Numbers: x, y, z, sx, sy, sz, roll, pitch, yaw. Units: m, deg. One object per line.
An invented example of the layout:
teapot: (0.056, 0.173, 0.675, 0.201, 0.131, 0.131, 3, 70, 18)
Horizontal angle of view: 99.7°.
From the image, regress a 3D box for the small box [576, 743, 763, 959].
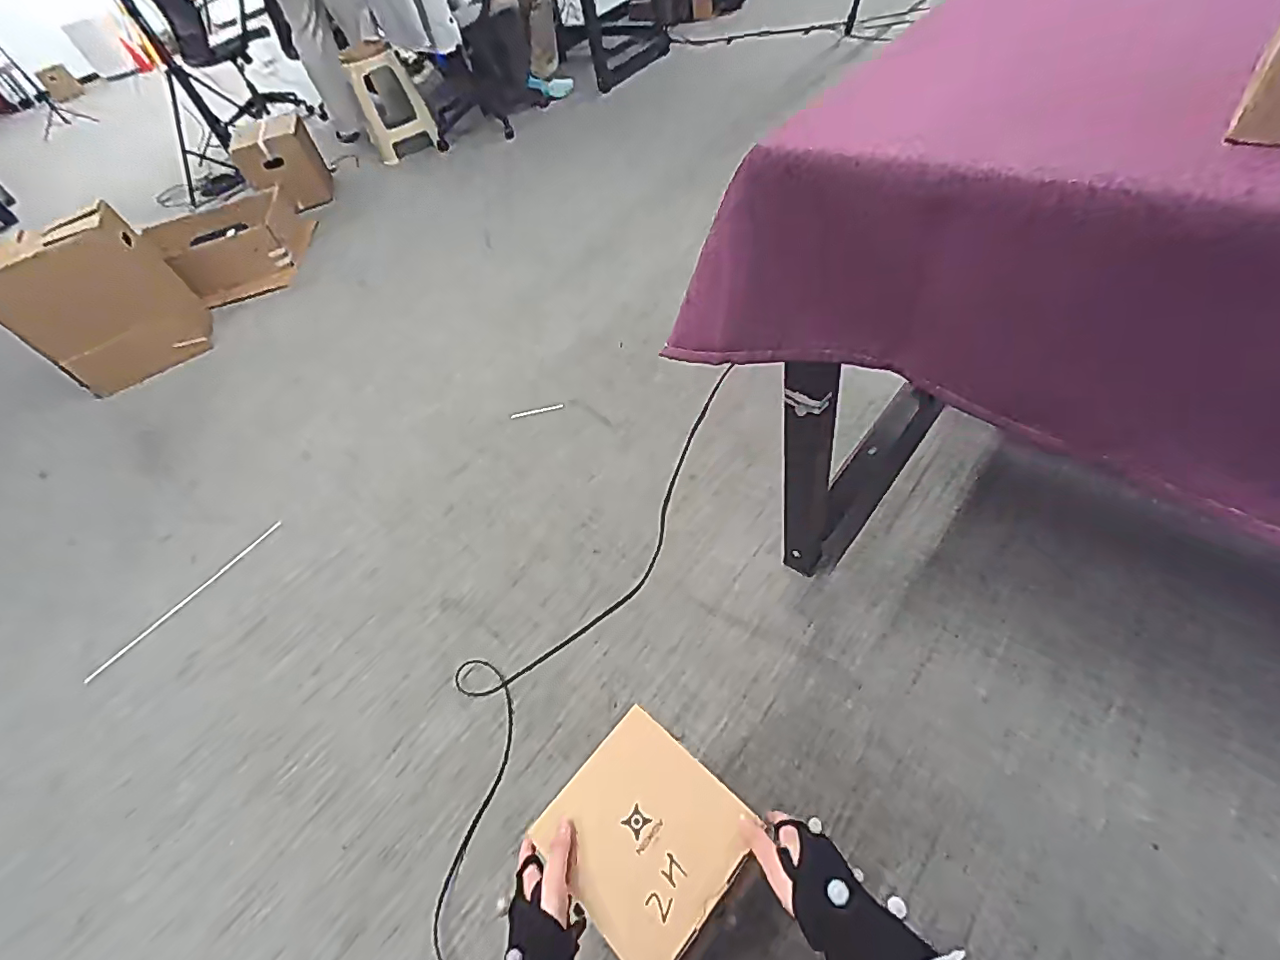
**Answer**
small box: (0.049, 0.491, 0.709, 0.168, 0.176, 0.179, 31, 64, 32)
